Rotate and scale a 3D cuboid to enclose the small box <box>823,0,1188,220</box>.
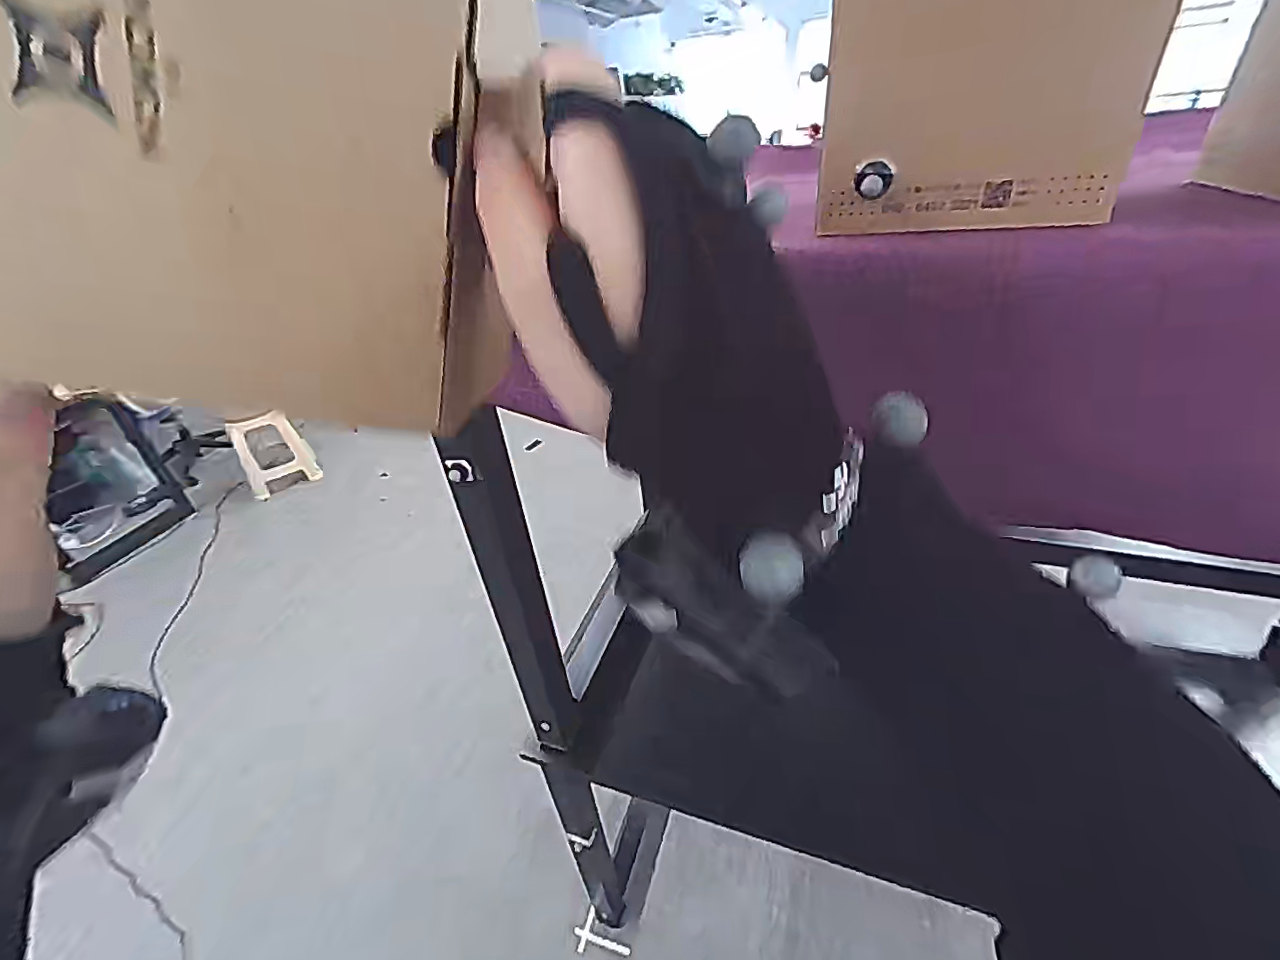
[{"bbox_3d":[0.214,-0.270,0.350,0.168,0.176,0.179,6,34,17],"label":"small box"}]

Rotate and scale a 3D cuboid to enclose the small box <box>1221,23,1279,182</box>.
[{"bbox_3d":[0.456,-0.238,0.261,0.168,0.176,0.179,6,35,18],"label":"small box"}]
